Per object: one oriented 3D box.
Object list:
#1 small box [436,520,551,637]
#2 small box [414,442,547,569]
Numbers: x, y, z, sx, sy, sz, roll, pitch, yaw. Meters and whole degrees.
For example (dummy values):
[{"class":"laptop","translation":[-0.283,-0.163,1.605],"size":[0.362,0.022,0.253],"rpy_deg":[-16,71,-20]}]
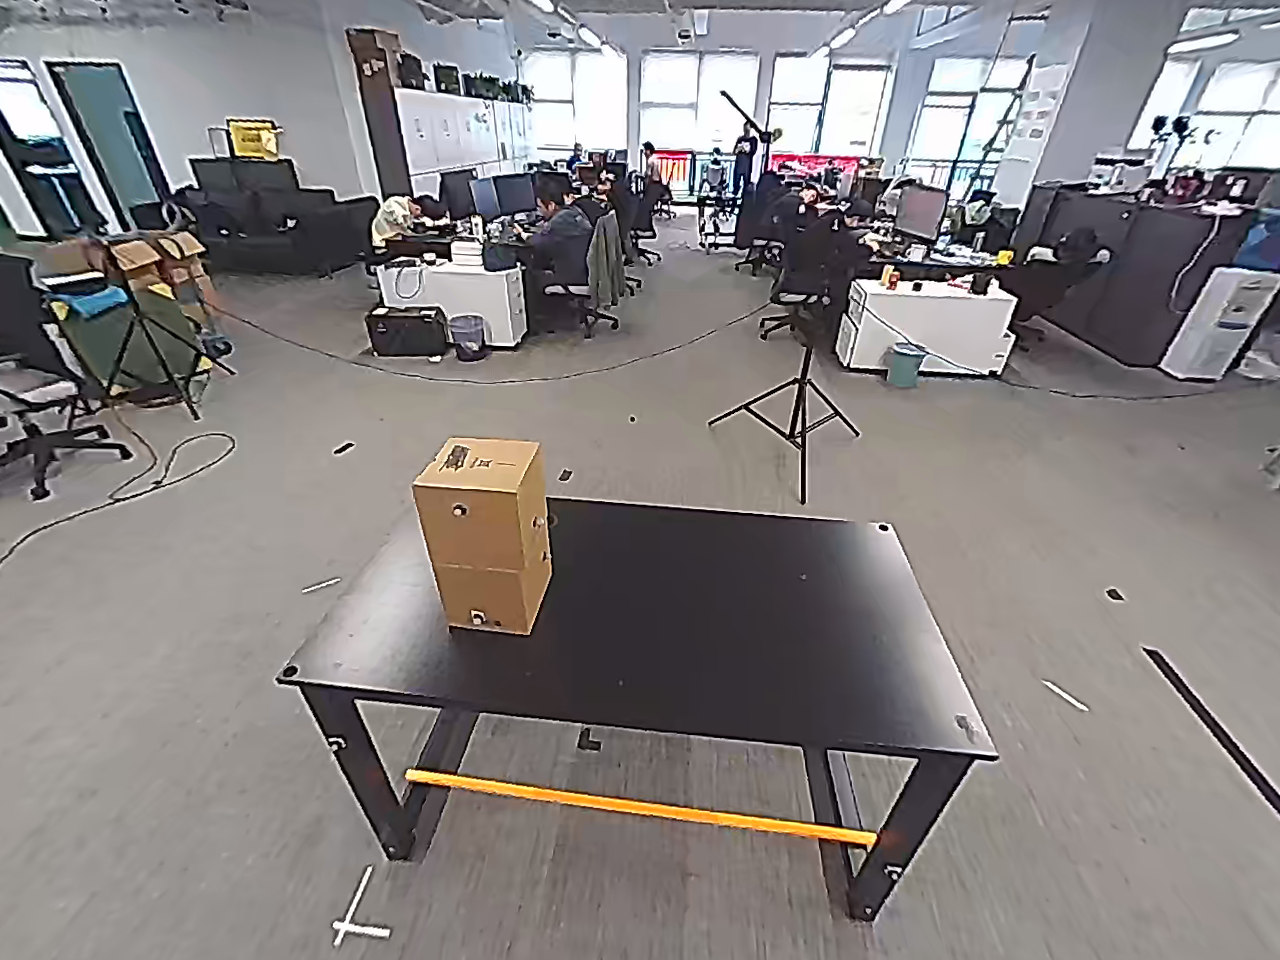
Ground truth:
[{"class":"small box","translation":[-0.278,0.182,1.070],"size":[0.168,0.176,0.179],"rpy_deg":[3,34,5]},{"class":"small box","translation":[-0.275,0.045,0.979],"size":[0.179,0.176,0.168],"rpy_deg":[4,33,4]}]
